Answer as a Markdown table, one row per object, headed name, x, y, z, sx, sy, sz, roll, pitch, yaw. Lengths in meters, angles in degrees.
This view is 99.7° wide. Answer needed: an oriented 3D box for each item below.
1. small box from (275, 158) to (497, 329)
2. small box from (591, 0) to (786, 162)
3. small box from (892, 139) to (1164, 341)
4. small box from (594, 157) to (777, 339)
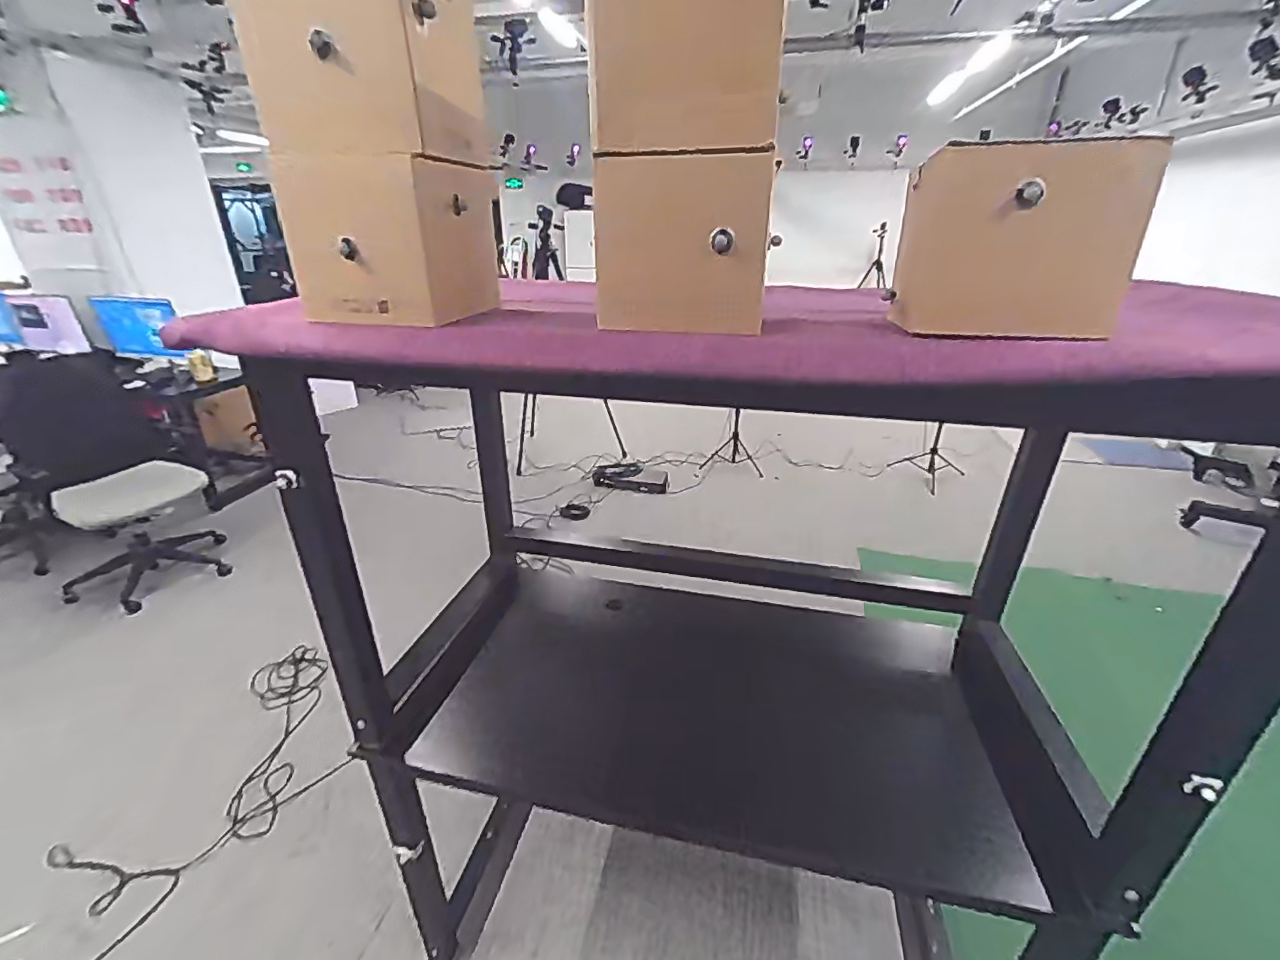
| name | x | y | z | sx | sy | sz | roll | pitch | yaw |
| --- | --- | --- | --- | --- | --- | --- | --- | --- | --- |
| small box | -0.283 | -0.281 | 0.652 | 0.168 | 0.176 | 0.179 | 6 | 25 | 9 |
| small box | 0.051 | -0.408 | 0.549 | 0.179 | 0.176 | 0.168 | 4 | 24 | 9 |
| small box | 0.376 | -0.240 | 0.570 | 0.179 | 0.176 | 0.168 | 6 | 23 | 13 |
| small box | 0.056 | -0.257 | 0.613 | 0.179 | 0.176 | 0.168 | 4 | 24 | 11 |
